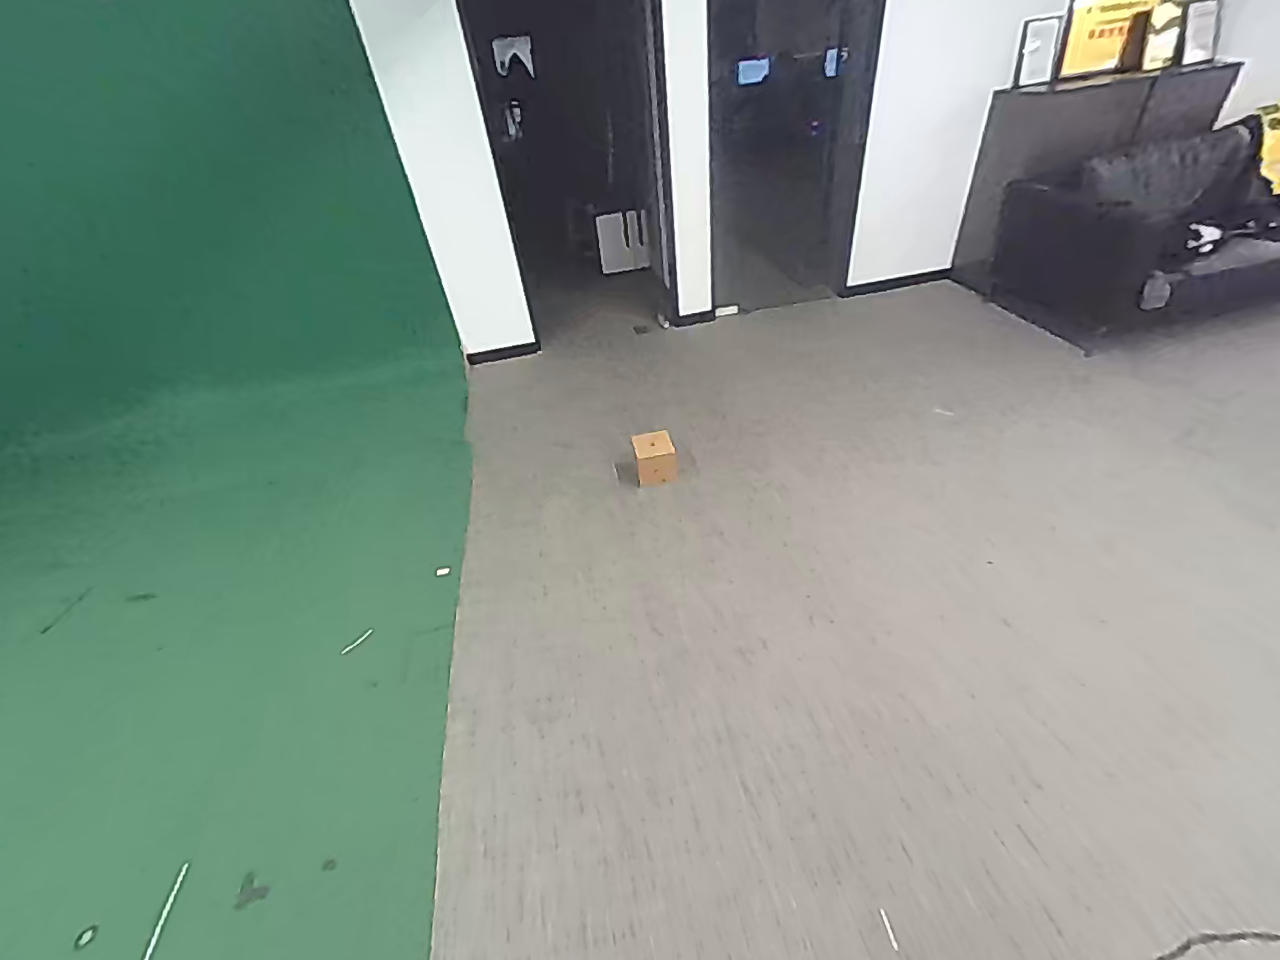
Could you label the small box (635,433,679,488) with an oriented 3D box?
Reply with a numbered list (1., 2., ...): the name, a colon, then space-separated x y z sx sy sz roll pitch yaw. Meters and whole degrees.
1. small box: 0.077 -0.081 2.411 0.168 0.176 0.179 -10 39 -4
